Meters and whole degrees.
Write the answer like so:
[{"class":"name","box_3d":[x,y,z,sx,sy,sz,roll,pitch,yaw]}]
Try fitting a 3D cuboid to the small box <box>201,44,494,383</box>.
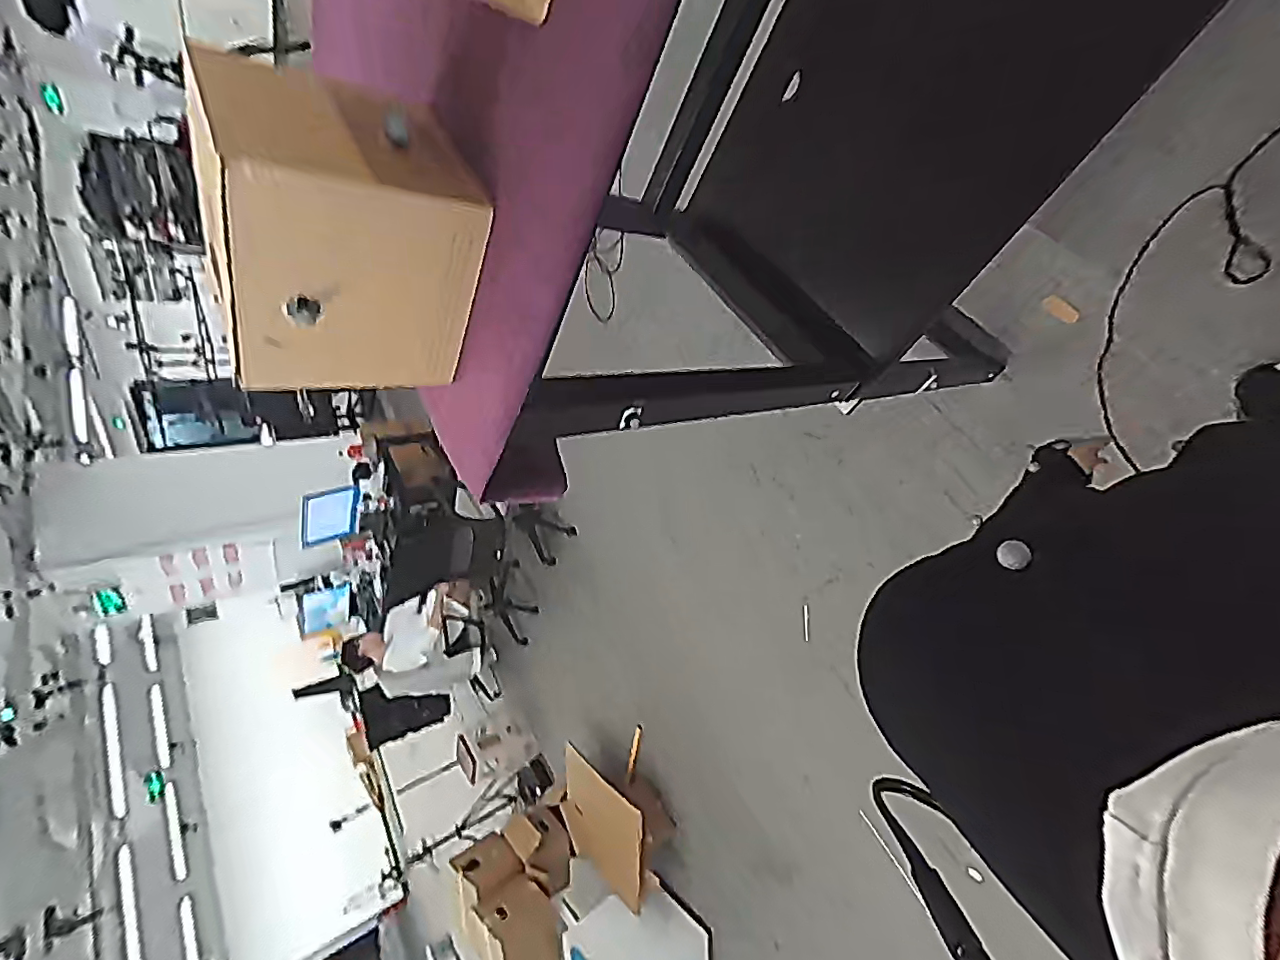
[{"class":"small box","box_3d":[-0.237,-0.199,0.446,0.168,0.176,0.179,57,136,26]}]
